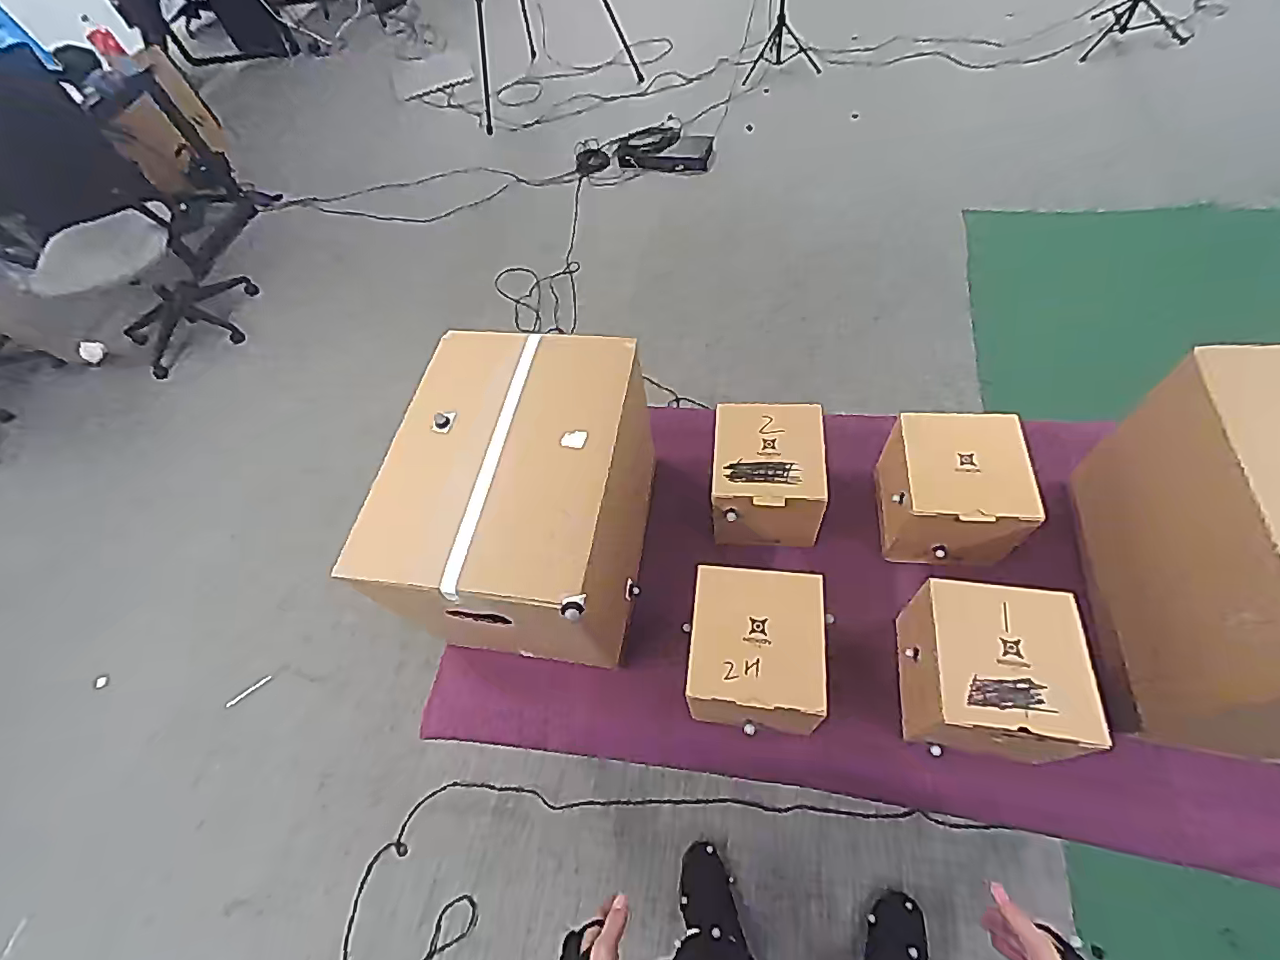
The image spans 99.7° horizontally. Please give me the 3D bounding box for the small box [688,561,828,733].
[{"bbox_3d":[0.159,0.232,0.745,0.168,0.176,0.179,4,58,11],"label":"small box"}]

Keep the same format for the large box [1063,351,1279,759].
[{"bbox_3d":[0.795,0.102,0.651,0.320,0.320,0.408,5,60,13],"label":"large box"}]
